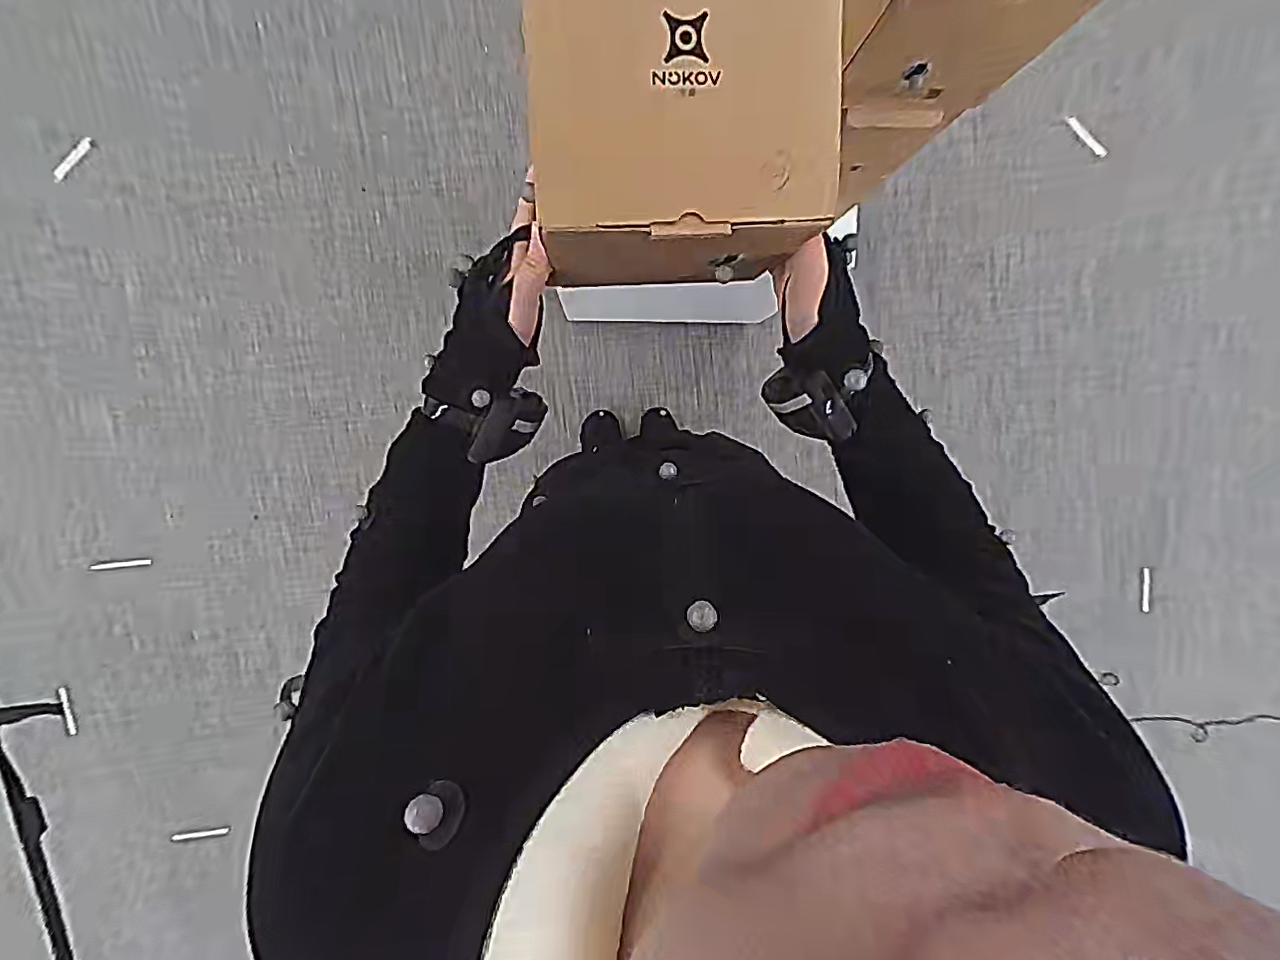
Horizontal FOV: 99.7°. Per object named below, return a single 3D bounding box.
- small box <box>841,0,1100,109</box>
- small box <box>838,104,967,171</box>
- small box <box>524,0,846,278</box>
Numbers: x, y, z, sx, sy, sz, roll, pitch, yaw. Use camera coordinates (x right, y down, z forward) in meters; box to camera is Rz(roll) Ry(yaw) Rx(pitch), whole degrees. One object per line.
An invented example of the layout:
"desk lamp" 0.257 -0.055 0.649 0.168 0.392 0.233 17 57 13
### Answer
"small box" 0.263 -0.454 0.456 0.168 0.176 0.179 -2 98 -4
"small box" 0.251 -0.476 0.616 0.168 0.176 0.179 -2 97 -4
"small box" 0.019 -0.235 0.355 0.168 0.176 0.179 -3 100 -4
